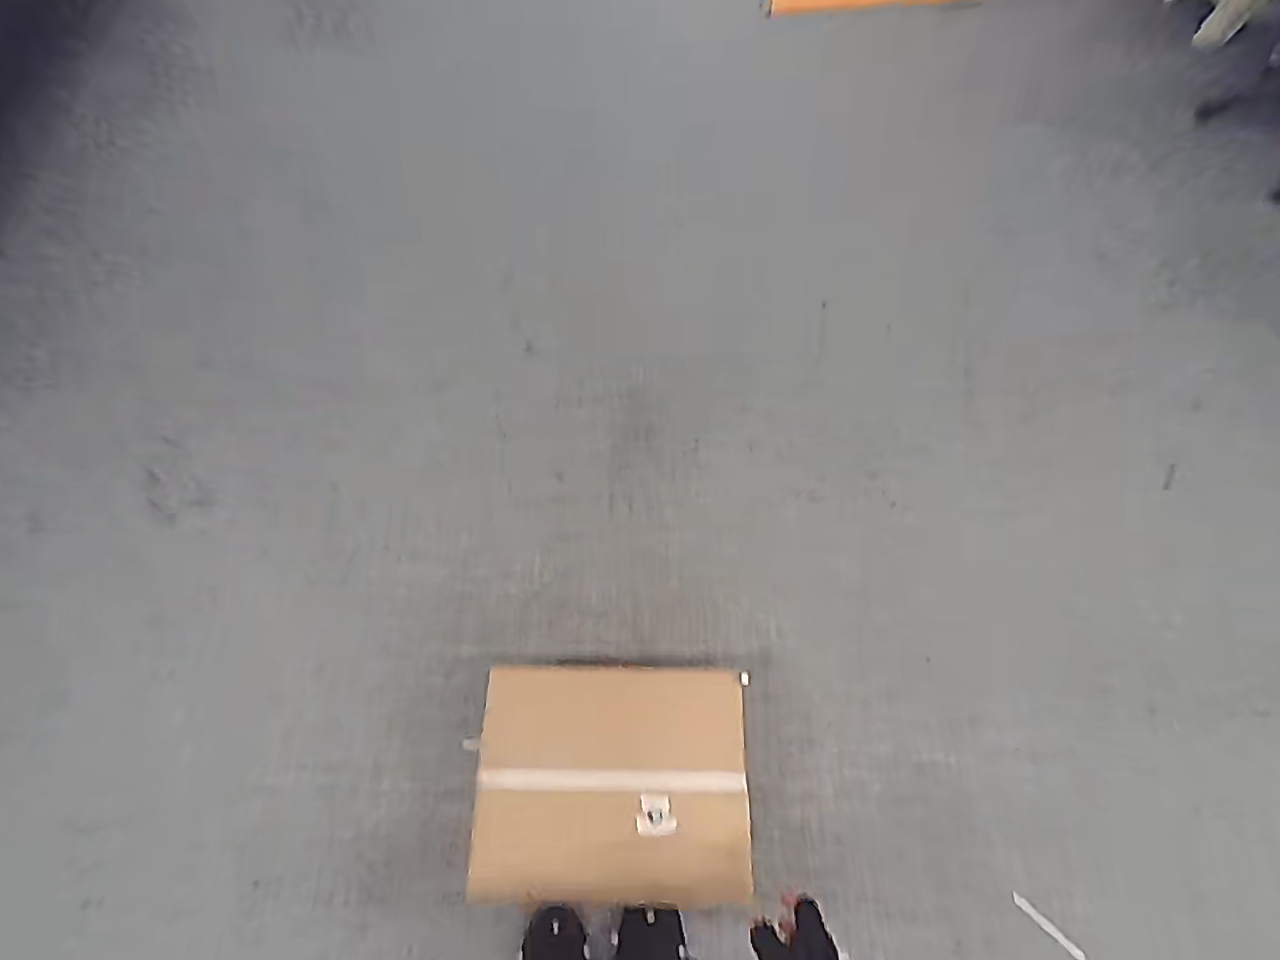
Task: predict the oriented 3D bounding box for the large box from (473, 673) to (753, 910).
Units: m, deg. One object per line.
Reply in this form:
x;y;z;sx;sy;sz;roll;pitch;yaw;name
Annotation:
-0.039;0.520;0.952;0.408;0.320;0.320;1;67;1;large box
